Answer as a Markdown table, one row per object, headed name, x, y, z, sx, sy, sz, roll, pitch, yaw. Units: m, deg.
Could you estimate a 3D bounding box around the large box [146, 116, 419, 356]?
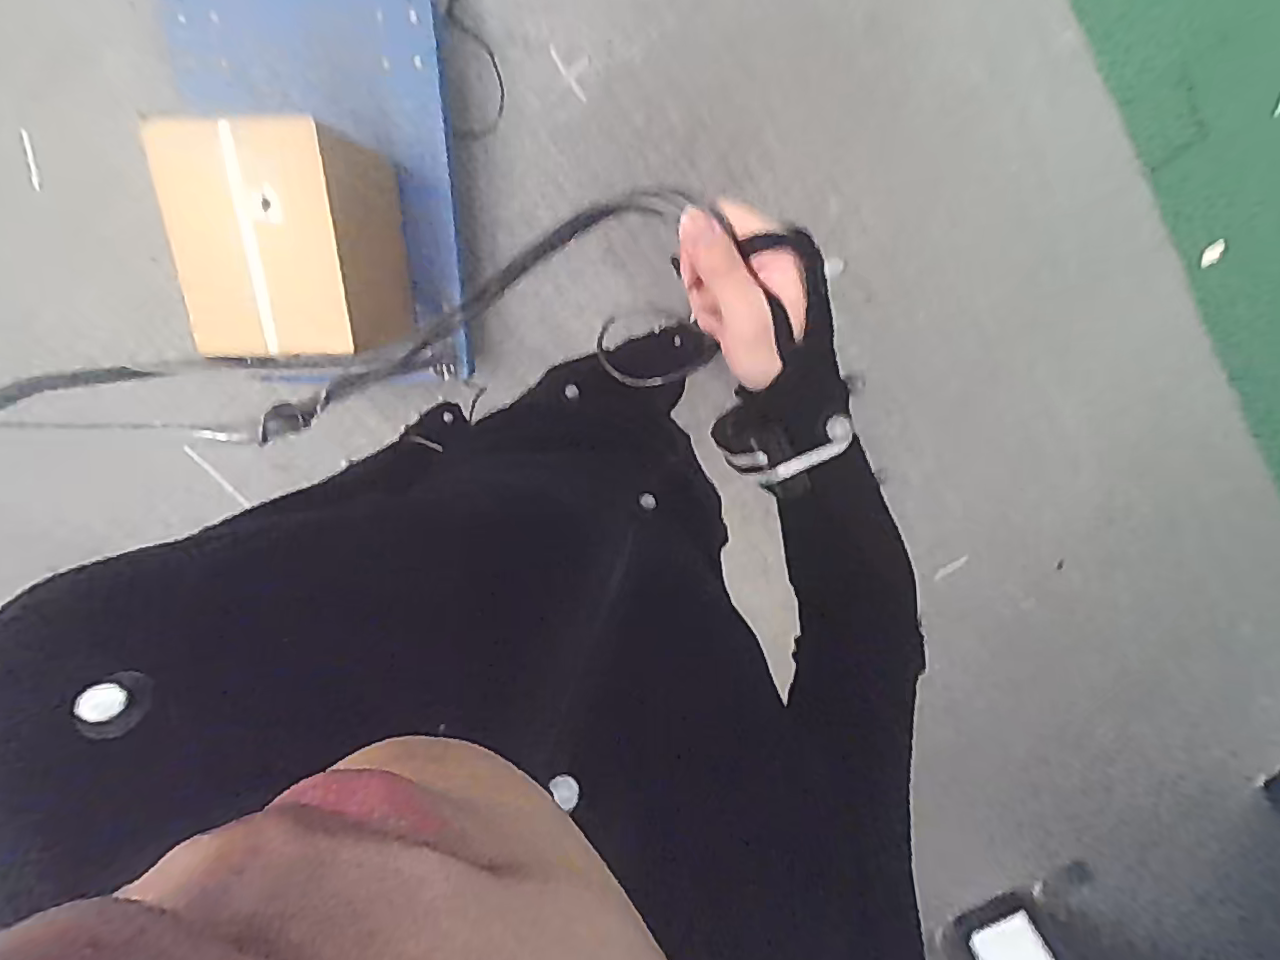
| name | x | y | z | sx | sy | sz | roll | pitch | yaw |
| --- | --- | --- | --- | --- | --- | --- | --- | --- | --- |
| large box | -0.698 | -0.477 | 1.133 | 0.320 | 0.320 | 0.408 | 0 | 107 | 1 |
